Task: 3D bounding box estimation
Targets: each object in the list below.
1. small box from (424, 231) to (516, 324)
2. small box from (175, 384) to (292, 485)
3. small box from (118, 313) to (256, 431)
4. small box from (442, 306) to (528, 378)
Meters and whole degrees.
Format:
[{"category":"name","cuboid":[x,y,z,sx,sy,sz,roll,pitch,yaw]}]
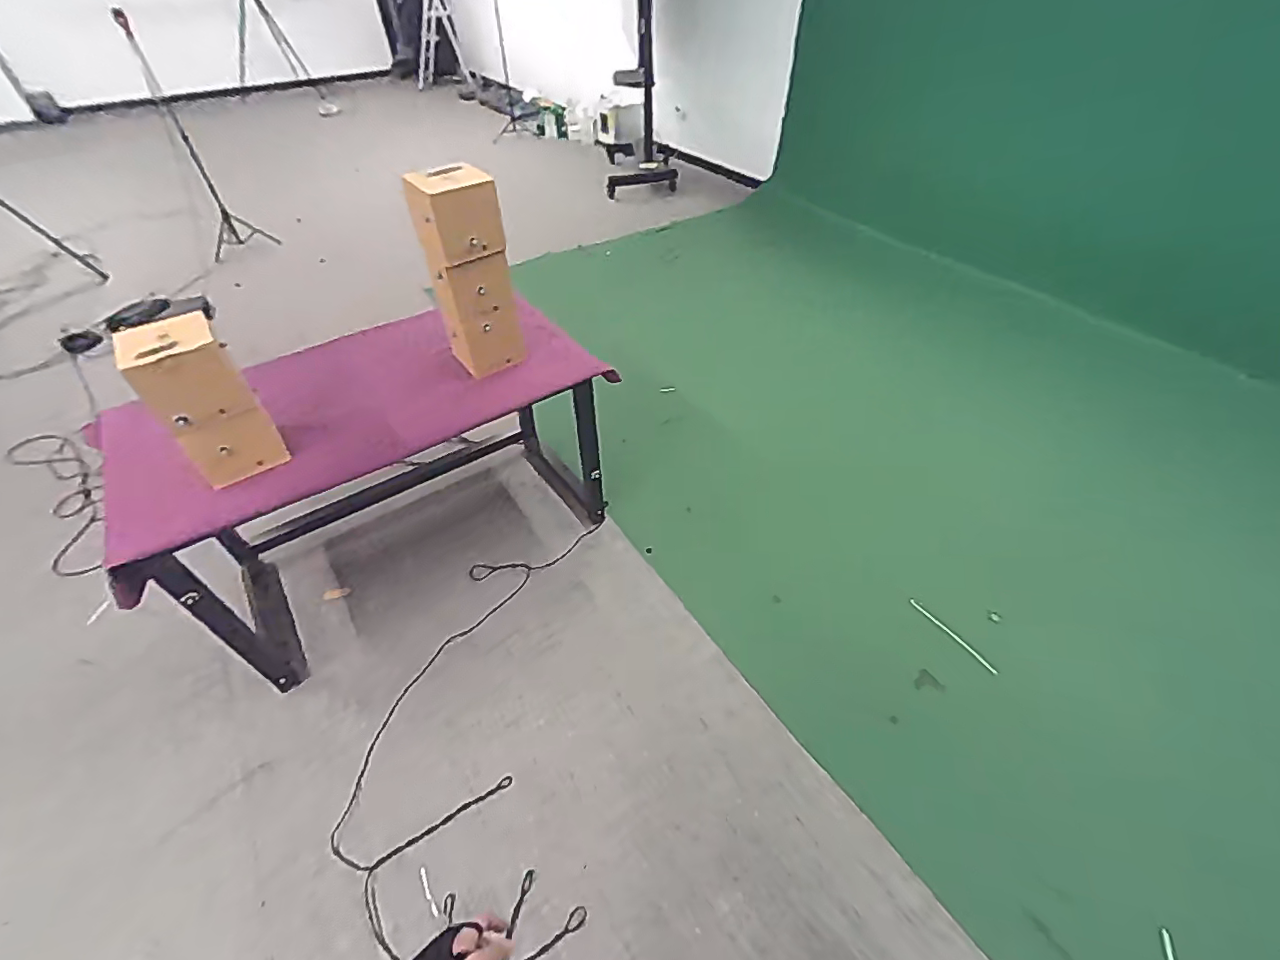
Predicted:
[{"category":"small box","cuboid":[-0.452,-0.540,1.454,0.168,0.176,0.179,-27,50,-23]},{"category":"small box","cuboid":[-0.961,-0.111,1.278,0.168,0.176,0.179,-30,52,-25]},{"category":"small box","cuboid":[-0.963,-0.225,1.160,0.168,0.176,0.179,-29,50,-25]},{"category":"small box","cuboid":[-0.447,-0.423,1.571,0.168,0.176,0.179,-29,51,-23]}]
